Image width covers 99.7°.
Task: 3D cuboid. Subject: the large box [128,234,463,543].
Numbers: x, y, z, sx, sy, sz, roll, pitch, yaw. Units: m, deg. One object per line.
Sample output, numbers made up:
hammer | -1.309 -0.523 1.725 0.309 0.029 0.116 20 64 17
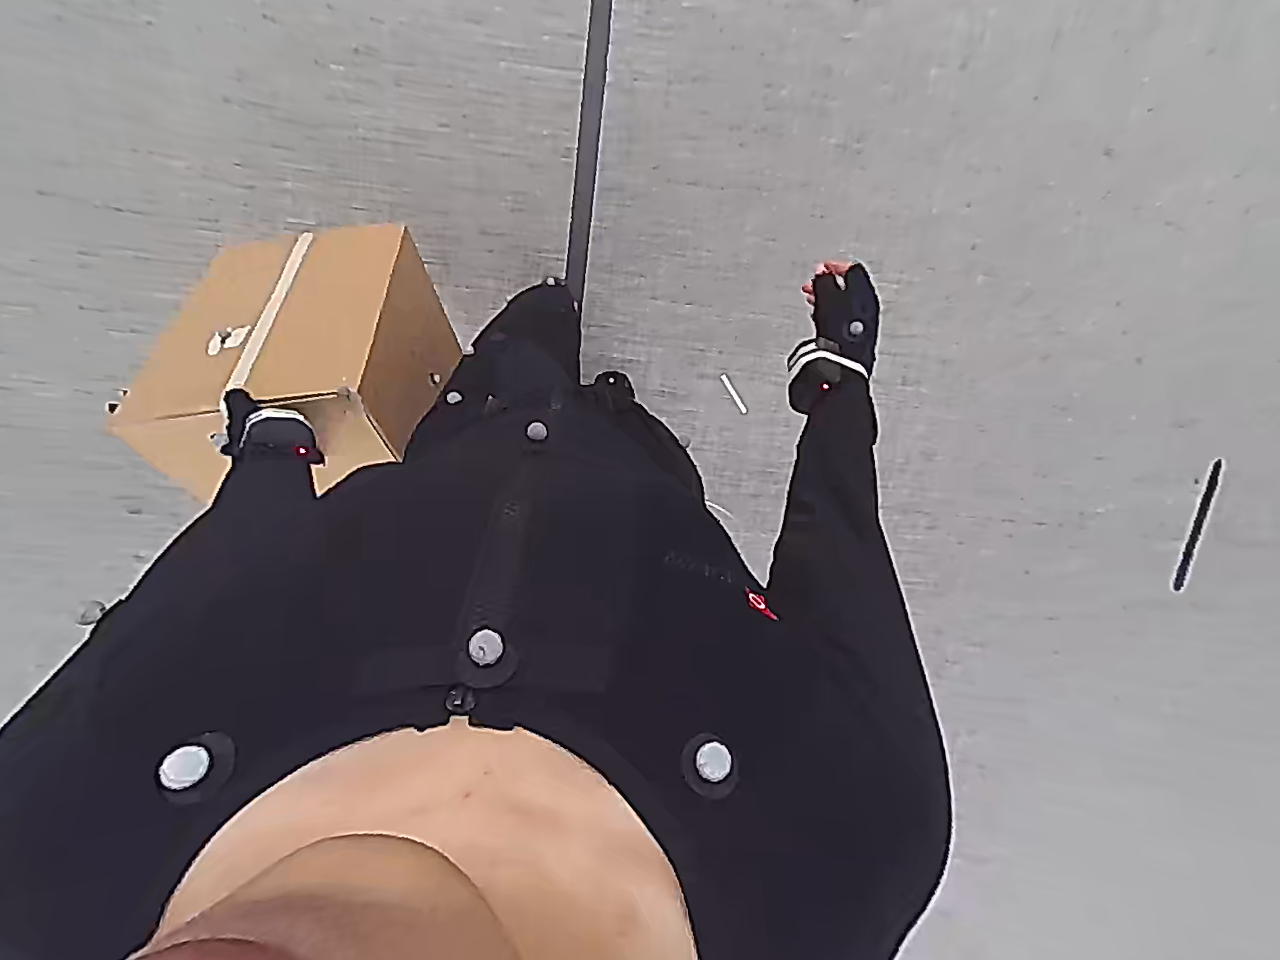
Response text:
large box | -0.511 -0.155 0.920 0.320 0.408 0.320 -8 143 1
